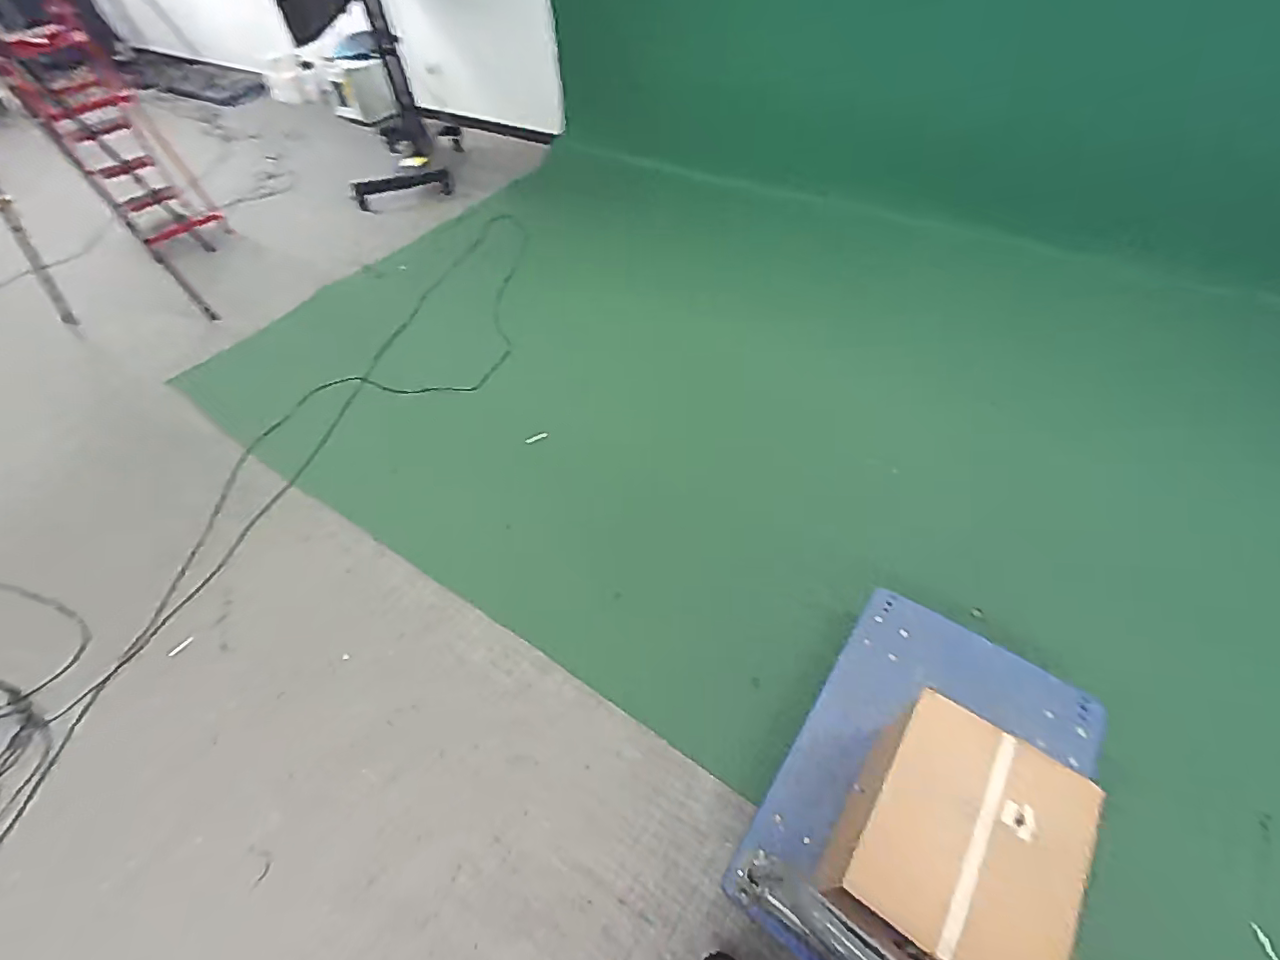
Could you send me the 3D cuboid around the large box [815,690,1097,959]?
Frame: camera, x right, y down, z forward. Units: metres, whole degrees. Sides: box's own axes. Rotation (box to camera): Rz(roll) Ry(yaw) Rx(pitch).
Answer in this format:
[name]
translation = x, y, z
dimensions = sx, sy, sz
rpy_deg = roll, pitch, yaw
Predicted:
[large box]
translation = 0.582, 0.706, 1.036
dimensions = 0.320, 0.320, 0.408
rpy_deg = 29, 58, 24
